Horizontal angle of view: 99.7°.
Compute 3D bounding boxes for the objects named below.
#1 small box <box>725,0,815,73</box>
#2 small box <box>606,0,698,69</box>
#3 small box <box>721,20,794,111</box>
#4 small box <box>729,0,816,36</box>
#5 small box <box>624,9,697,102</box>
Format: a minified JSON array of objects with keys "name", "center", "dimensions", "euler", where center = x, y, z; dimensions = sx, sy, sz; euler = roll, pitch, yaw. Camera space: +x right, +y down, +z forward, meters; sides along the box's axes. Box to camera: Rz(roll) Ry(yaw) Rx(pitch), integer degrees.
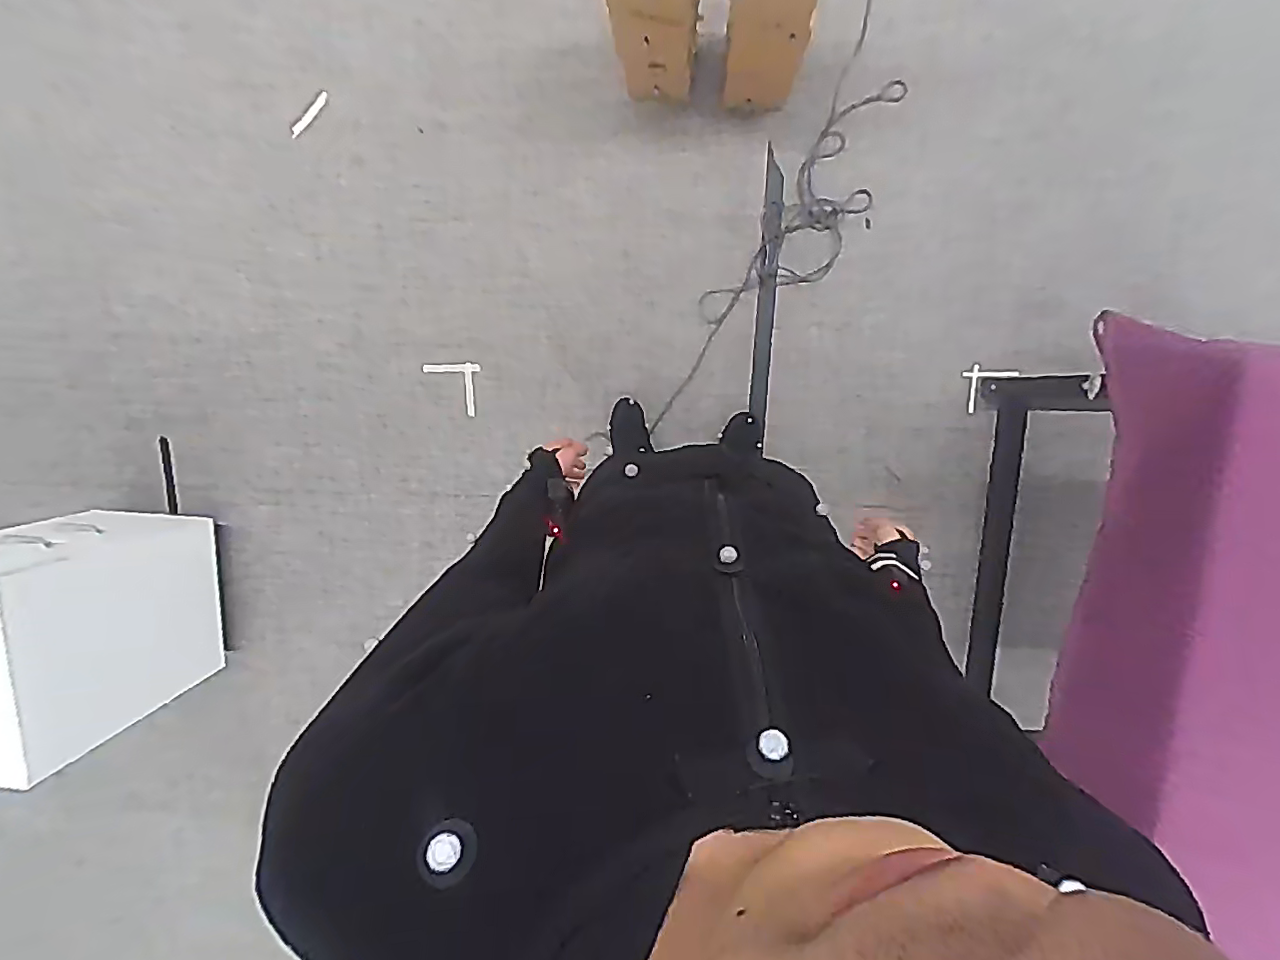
[{"name":"small box","center":[0.285,-1.042,1.200],"dimensions":[0.179,0.176,0.168],"euler":[4,99,3]},{"name":"small box","center":[0.034,-1.061,1.207],"dimensions":[0.179,0.176,0.168],"euler":[11,99,3]},{"name":"small box","center":[0.295,-1.069,1.360],"dimensions":[0.168,0.176,0.179],"euler":[3,100,3]},{"name":"small box","center":[0.273,-1.014,1.038],"dimensions":[0.168,0.176,0.179],"euler":[12,99,2]},{"name":"small box","center":[0.051,-1.102,1.366],"dimensions":[0.168,0.176,0.179],"euler":[7,100,3]}]
